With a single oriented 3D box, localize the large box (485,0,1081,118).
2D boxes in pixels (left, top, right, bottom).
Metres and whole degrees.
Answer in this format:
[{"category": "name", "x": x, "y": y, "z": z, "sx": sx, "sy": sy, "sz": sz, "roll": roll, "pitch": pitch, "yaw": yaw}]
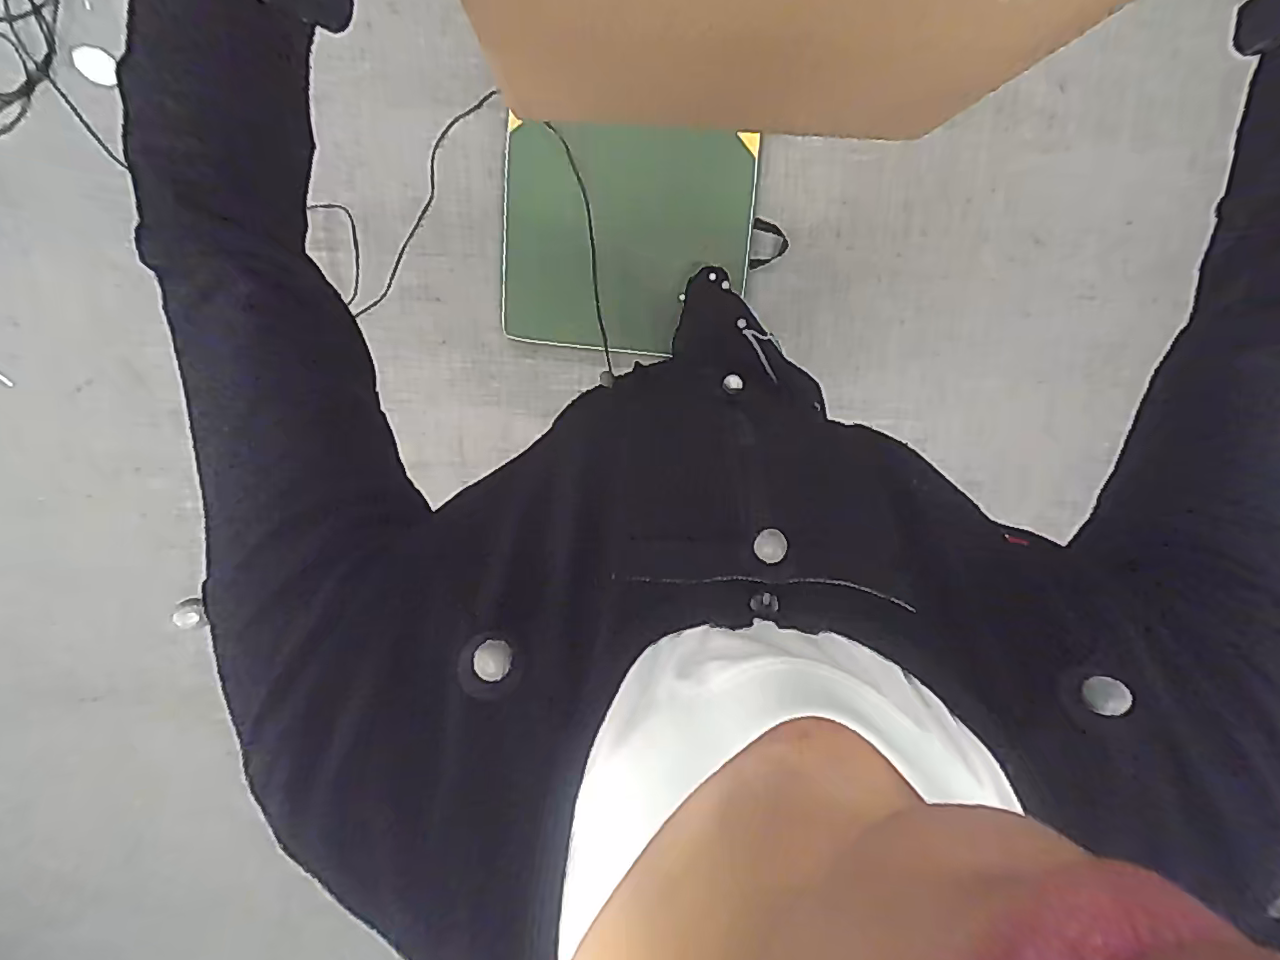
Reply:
[{"category": "large box", "x": 0.092, "y": -0.465, "z": 0.346, "sx": 0.408, "sy": 0.320, "sz": 0.320, "roll": 0, "pitch": 106, "yaw": -4}]
